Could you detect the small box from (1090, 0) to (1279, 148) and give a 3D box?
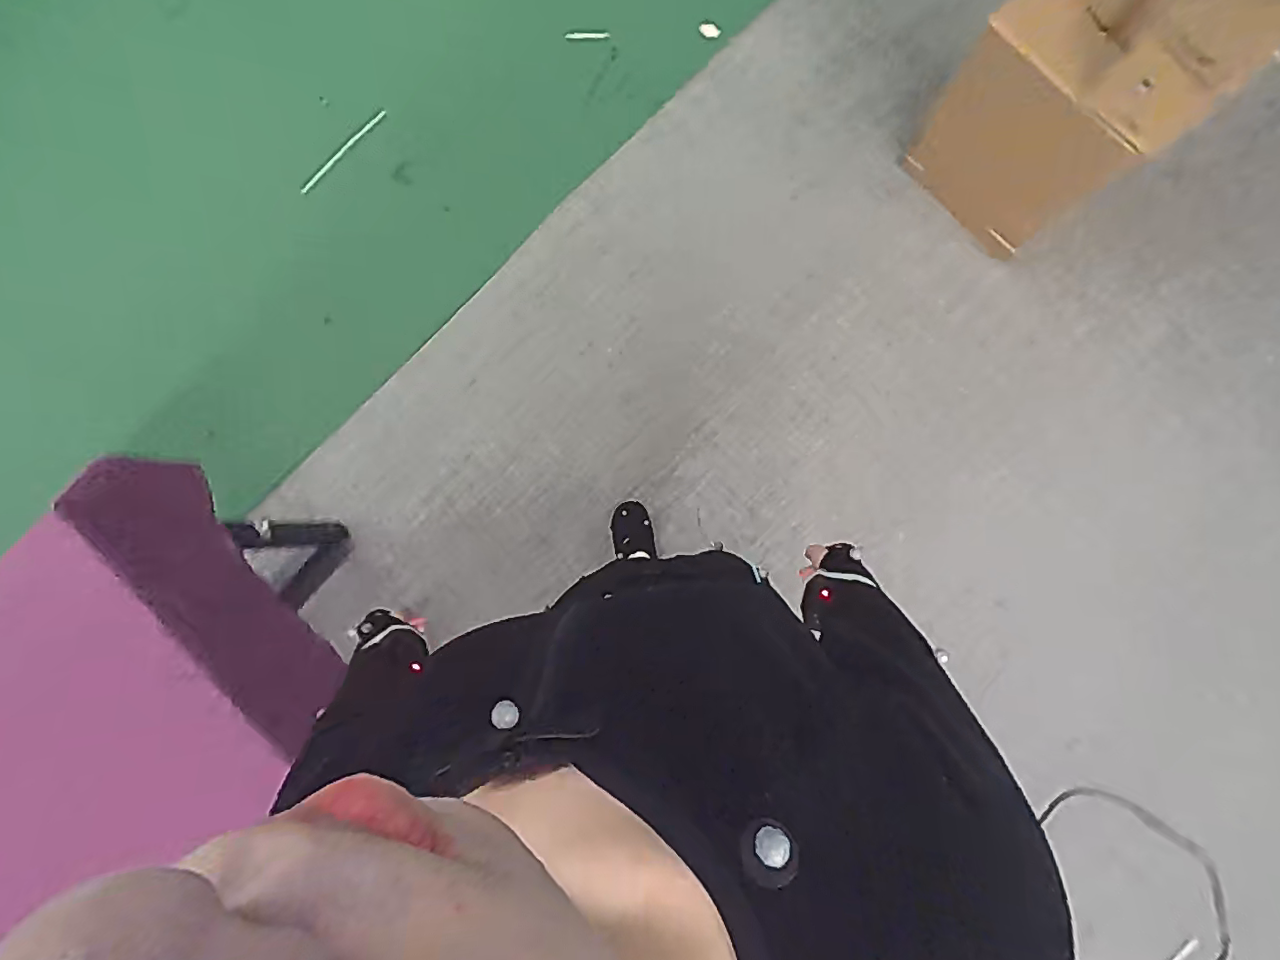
[{"bbox_3d":[0.968,-0.748,0.967,0.179,0.176,0.168,-43,83,0],"label":"small box"}]

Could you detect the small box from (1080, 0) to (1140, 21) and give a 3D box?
[{"bbox_3d":[0.923,-1.018,0.995,0.168,0.176,0.179,-35,84,1],"label":"small box"}]
